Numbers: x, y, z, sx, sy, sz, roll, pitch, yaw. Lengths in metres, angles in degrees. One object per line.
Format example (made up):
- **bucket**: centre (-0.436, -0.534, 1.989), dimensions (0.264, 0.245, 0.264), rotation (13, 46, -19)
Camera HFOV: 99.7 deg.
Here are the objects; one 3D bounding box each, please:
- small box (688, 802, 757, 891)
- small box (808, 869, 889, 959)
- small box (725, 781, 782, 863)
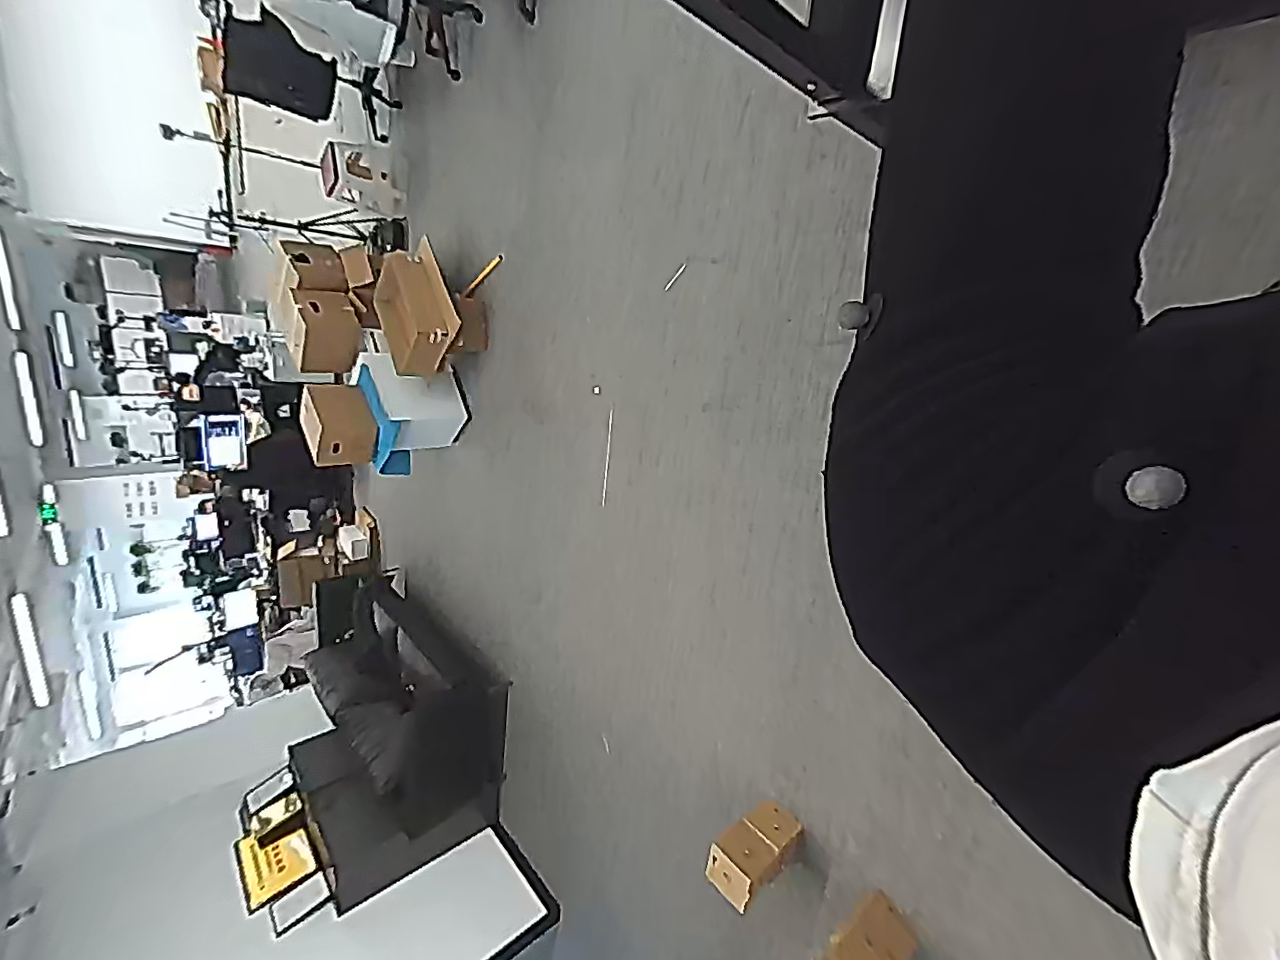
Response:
- **small box**: centre (0.310, 1.349, 2.005), dimensions (0.179, 0.176, 0.168), rotation (26, 115, 40)
- **small box**: centre (0.716, 1.476, 1.837), dimensions (0.168, 0.176, 0.179), rotation (46, 128, 32)
- **small box**: centre (0.432, 1.326, 2.112), dimensions (0.168, 0.176, 0.179), rotation (24, 115, 41)
